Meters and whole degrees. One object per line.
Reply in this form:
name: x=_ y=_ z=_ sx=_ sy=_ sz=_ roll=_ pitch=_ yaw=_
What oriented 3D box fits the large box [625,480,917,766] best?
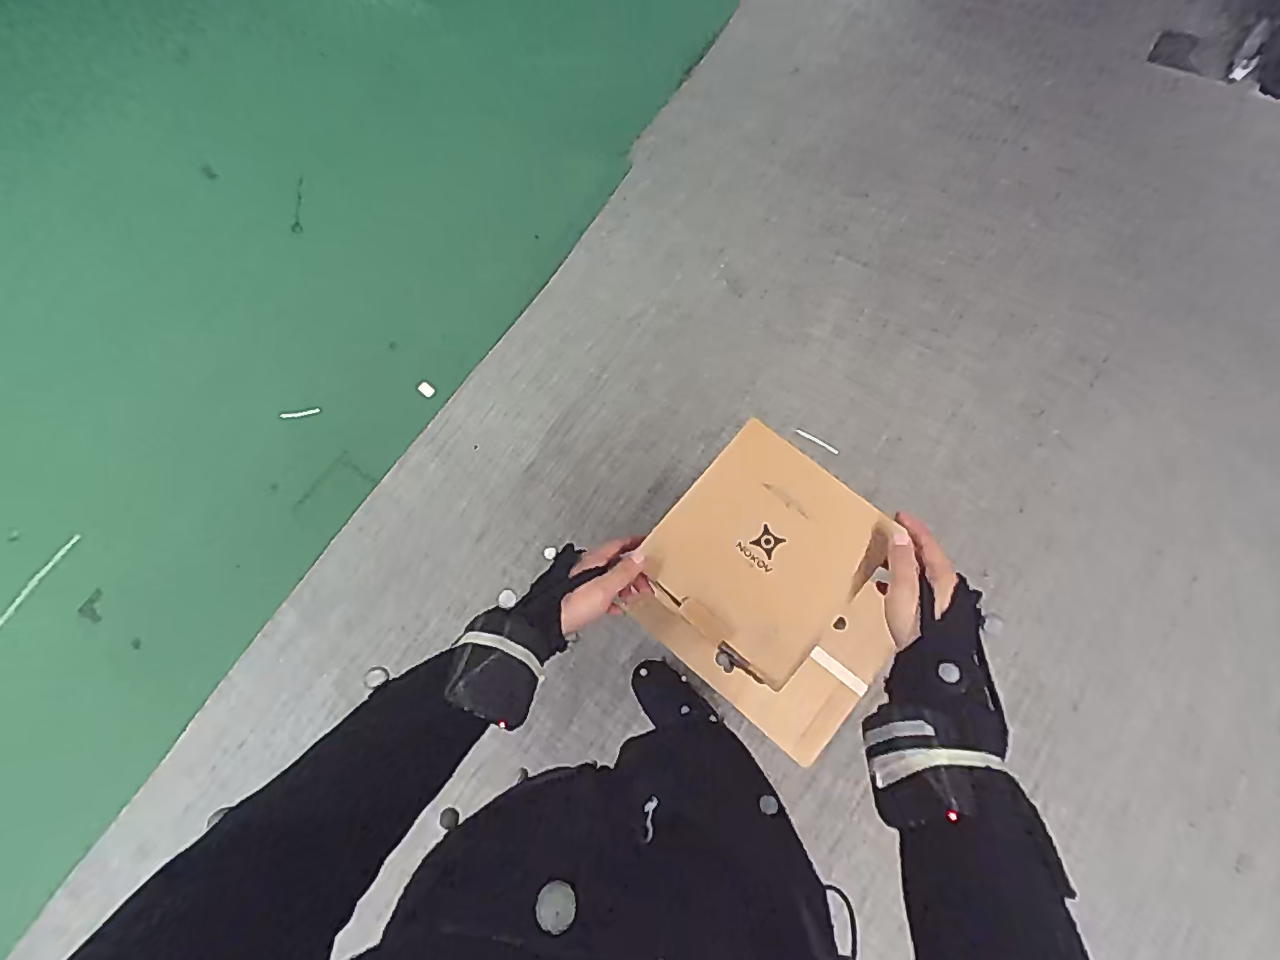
large box: x=0.230 y=0.266 z=1.068 sx=0.408 sy=0.320 sz=0.320 roll=38 pitch=82 yaw=15

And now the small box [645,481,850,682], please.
small box: x=0.129 y=0.134 z=0.693 sx=0.179 sy=0.176 sz=0.168 roll=36 pitch=81 yaw=15
